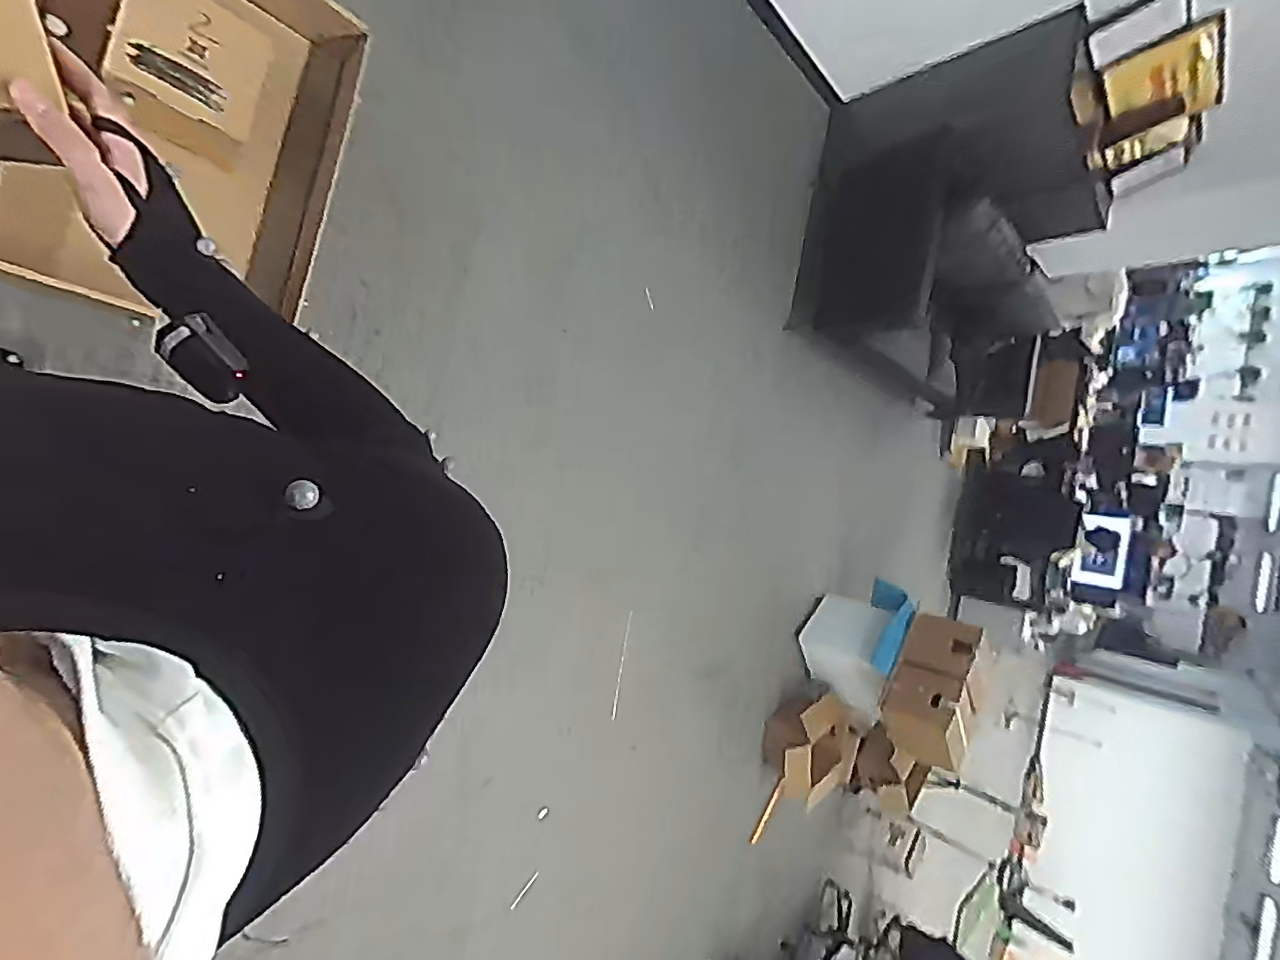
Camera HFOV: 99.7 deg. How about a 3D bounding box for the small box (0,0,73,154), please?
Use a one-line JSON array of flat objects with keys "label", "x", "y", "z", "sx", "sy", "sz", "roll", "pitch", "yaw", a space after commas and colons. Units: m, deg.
[{"label": "small box", "x": -0.540, "y": -0.349, "z": 0.376, "sx": 0.168, "sy": 0.176, "sz": 0.179, "roll": -19, "pitch": 113, "yaw": -40}]
